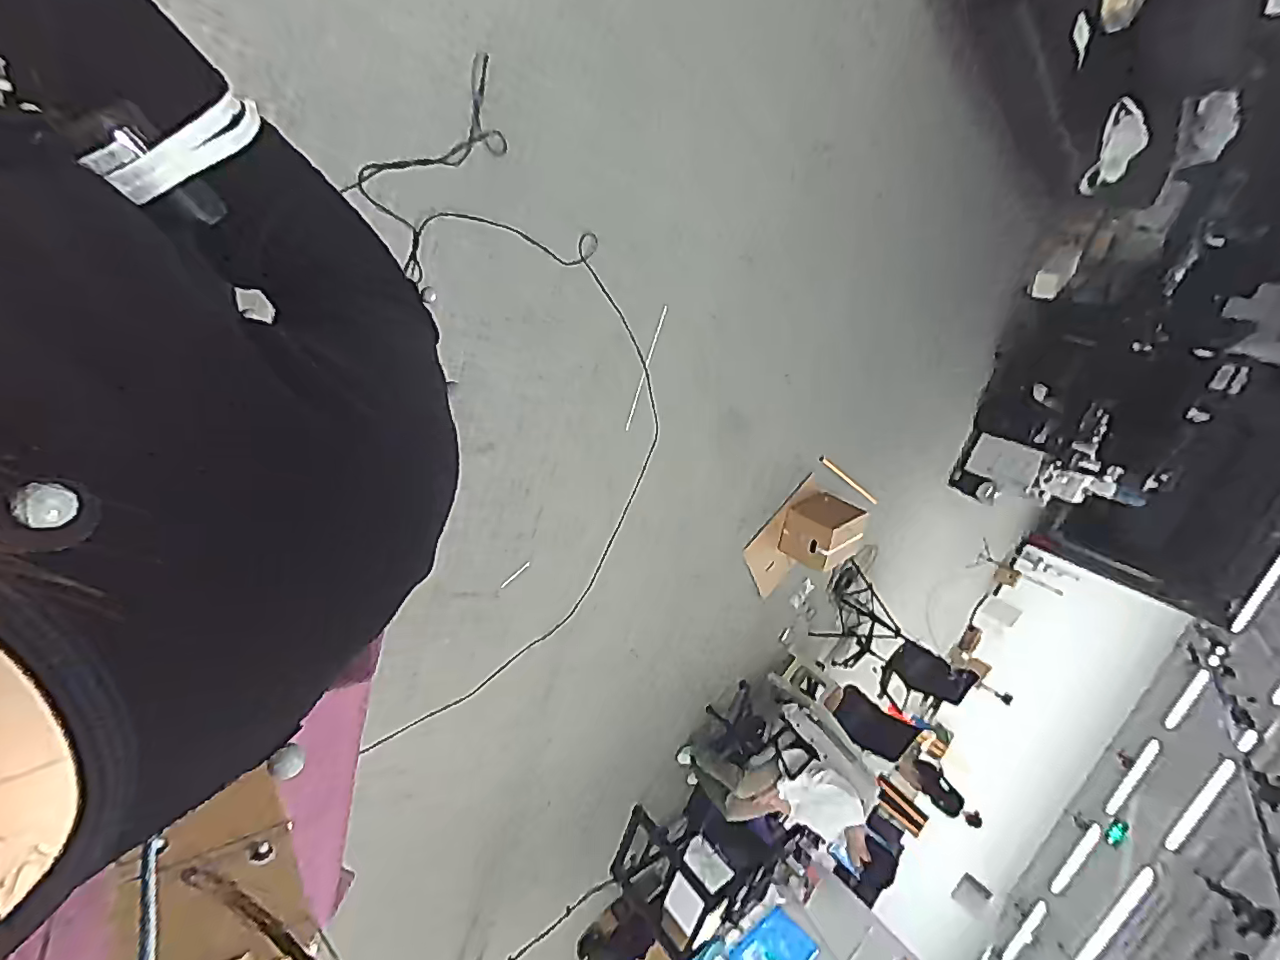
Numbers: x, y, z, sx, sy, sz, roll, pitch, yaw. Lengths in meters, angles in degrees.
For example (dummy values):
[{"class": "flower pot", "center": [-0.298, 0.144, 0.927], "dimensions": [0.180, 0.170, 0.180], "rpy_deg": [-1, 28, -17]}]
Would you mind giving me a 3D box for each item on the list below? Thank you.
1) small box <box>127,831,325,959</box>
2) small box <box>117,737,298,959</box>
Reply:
[{"class": "small box", "center": [-0.501, 0.567, 0.649], "dimensions": [0.168, 0.176, 0.179], "rpy_deg": [0, 116, -44]}, {"class": "small box", "center": [-0.606, 0.498, 0.755], "dimensions": [0.179, 0.176, 0.168], "rpy_deg": [0, 114, -45]}]
